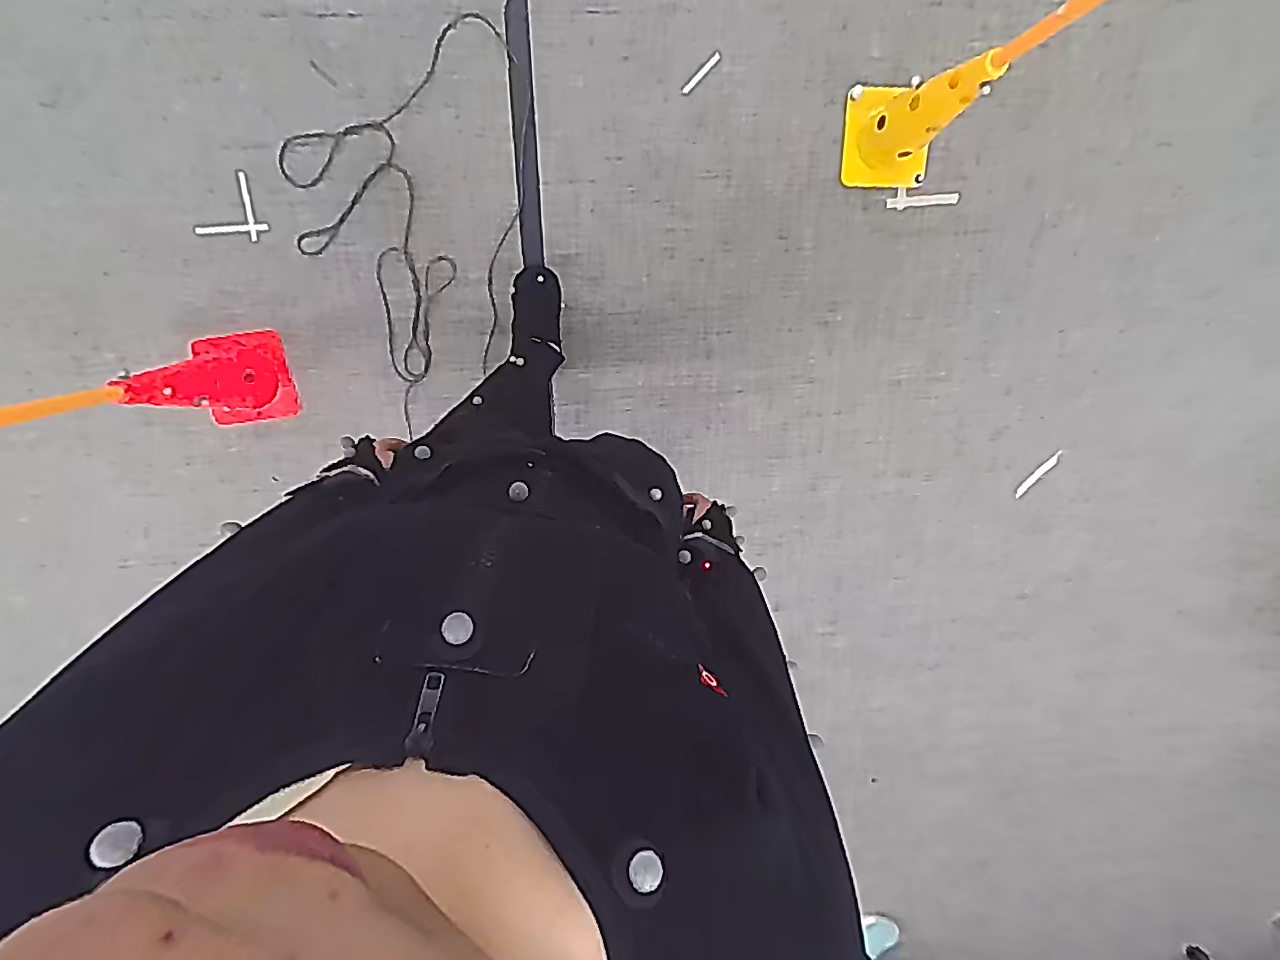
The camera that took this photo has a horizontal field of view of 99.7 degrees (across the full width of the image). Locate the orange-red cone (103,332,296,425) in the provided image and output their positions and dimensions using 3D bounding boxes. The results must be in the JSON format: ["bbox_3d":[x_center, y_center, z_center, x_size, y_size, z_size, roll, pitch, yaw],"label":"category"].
[{"bbox_3d":[-0.892,-0.187,1.070,0.199,0.360,0.198,-8,105,-4],"label":"orange-red cone"}]
